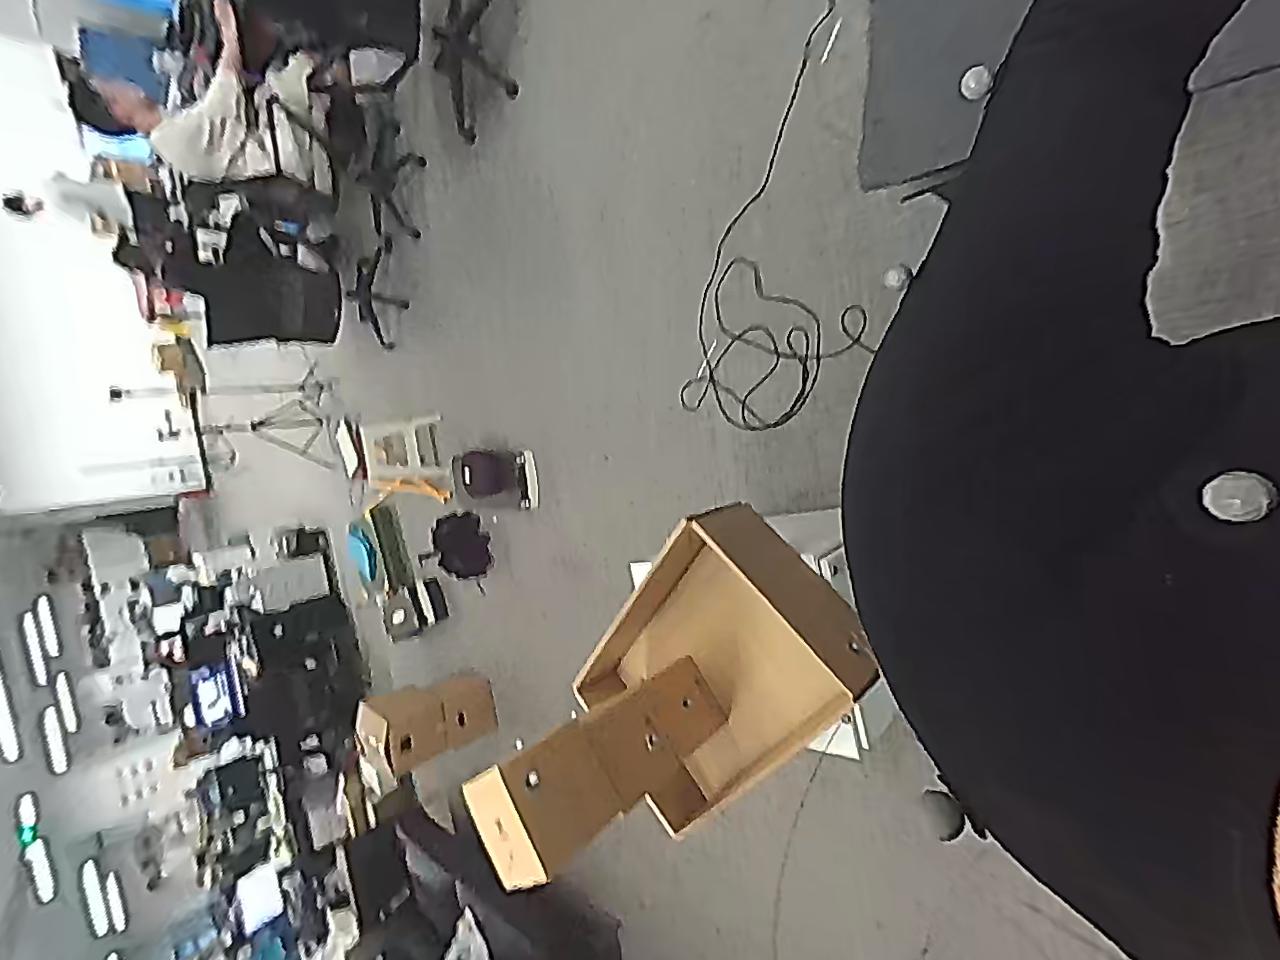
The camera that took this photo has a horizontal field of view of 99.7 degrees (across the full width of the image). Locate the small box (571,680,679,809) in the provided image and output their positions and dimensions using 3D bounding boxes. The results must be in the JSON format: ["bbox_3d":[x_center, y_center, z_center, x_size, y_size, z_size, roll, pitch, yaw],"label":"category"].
[{"bbox_3d":[-0.057,0.523,1.065,0.179,0.176,0.168,-41,73,39],"label":"small box"}]

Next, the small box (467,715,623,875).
[{"bbox_3d":[-0.164,0.535,0.939,0.168,0.176,0.179,-46,70,40],"label":"small box"}]
